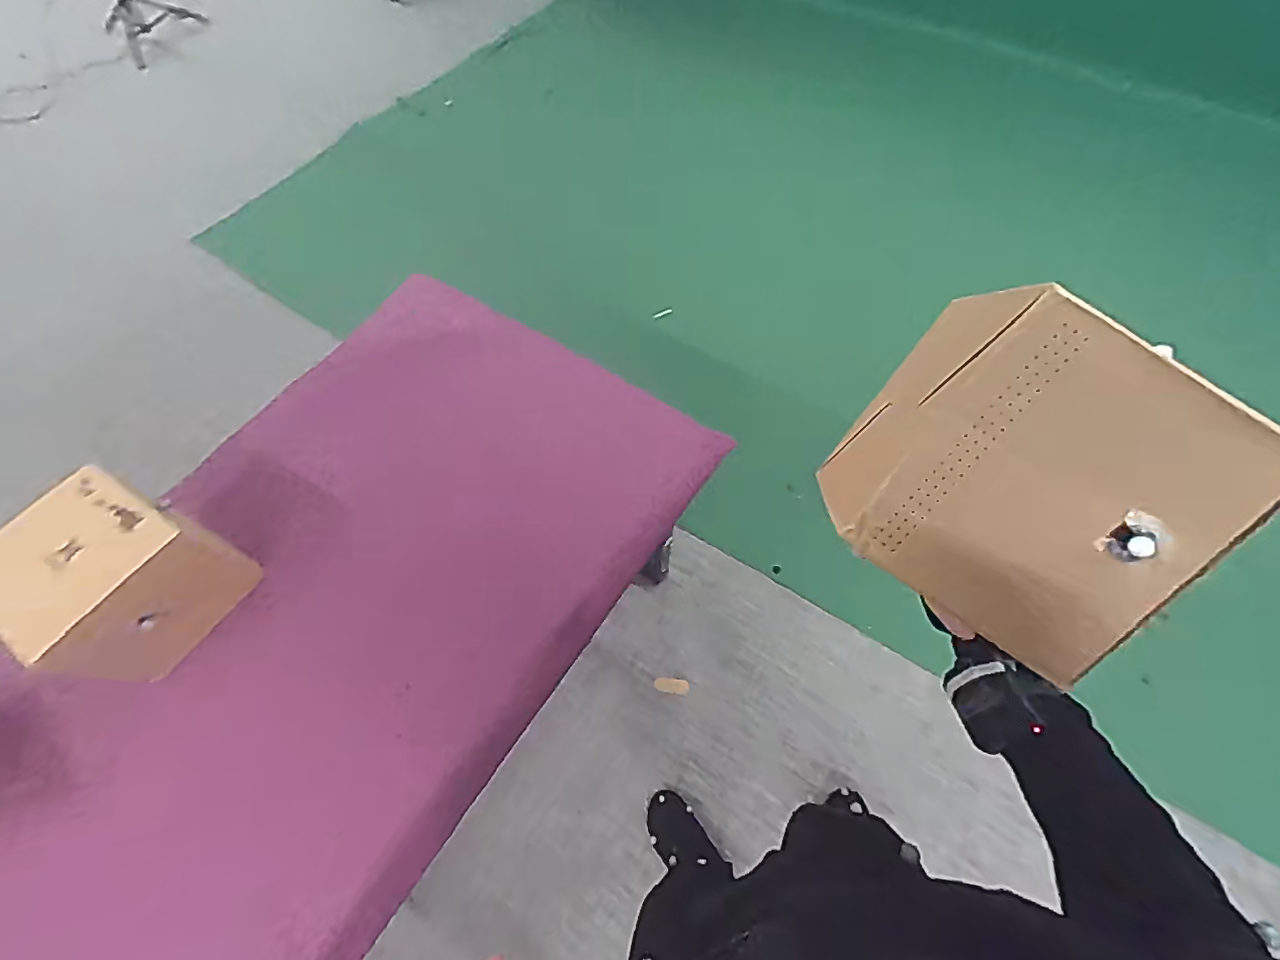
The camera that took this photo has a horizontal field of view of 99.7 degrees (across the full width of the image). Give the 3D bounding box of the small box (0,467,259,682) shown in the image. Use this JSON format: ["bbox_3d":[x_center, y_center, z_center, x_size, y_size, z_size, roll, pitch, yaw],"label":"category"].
[{"bbox_3d":[-0.625,0.123,0.656,0.168,0.176,0.179,30,67,12],"label":"small box"}]

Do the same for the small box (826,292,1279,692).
[{"bbox_3d":[0.257,-0.006,0.369,0.176,0.168,0.179,35,109,4],"label":"small box"}]
